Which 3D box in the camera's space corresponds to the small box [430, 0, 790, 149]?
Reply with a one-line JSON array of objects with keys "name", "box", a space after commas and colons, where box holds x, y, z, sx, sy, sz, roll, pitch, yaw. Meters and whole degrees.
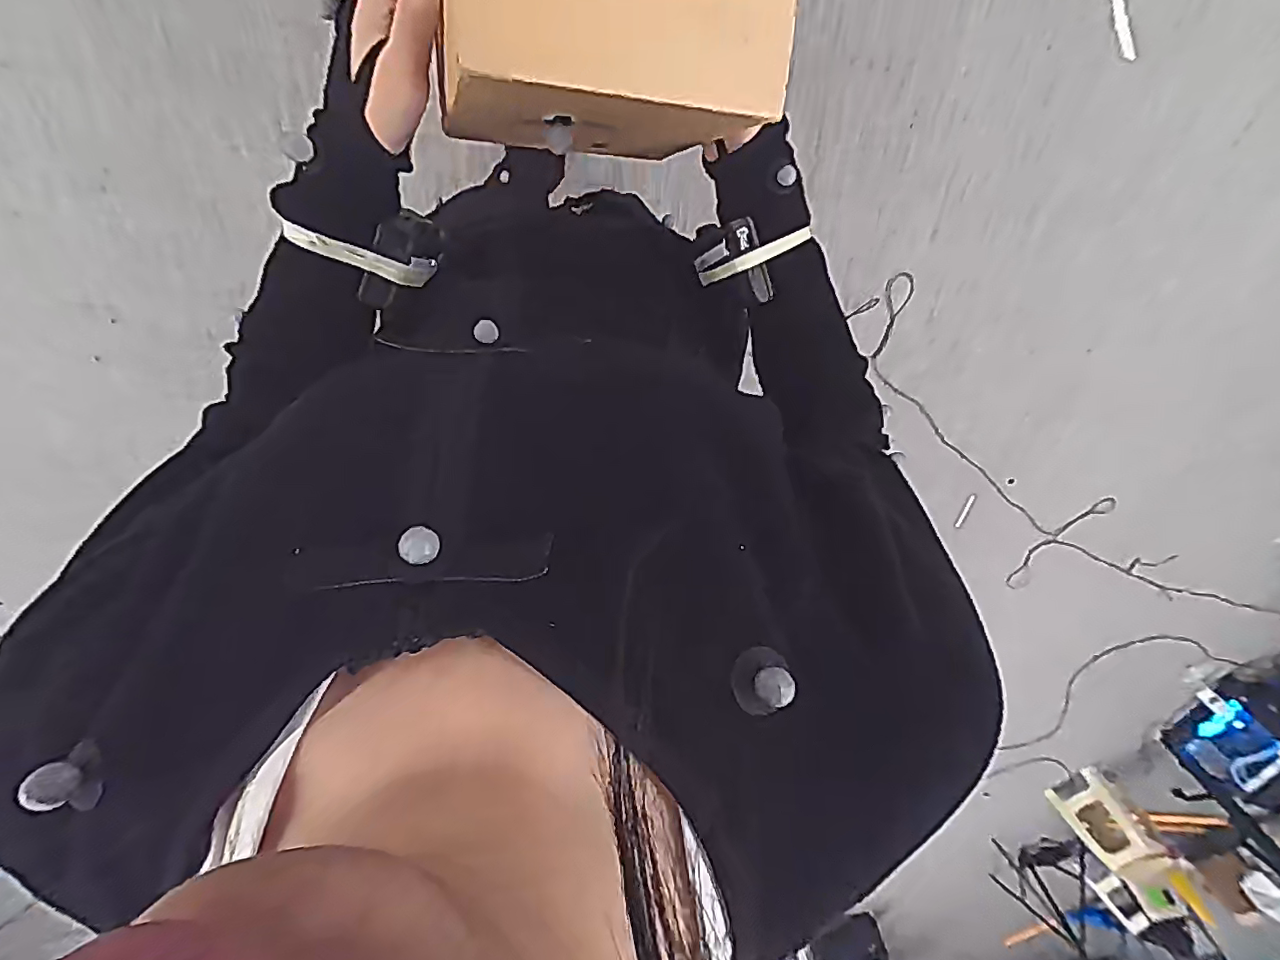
[{"name": "small box", "box": [-0.028, -0.298, 0.297, 0.168, 0.176, 0.179, -6, 113, -20]}]
